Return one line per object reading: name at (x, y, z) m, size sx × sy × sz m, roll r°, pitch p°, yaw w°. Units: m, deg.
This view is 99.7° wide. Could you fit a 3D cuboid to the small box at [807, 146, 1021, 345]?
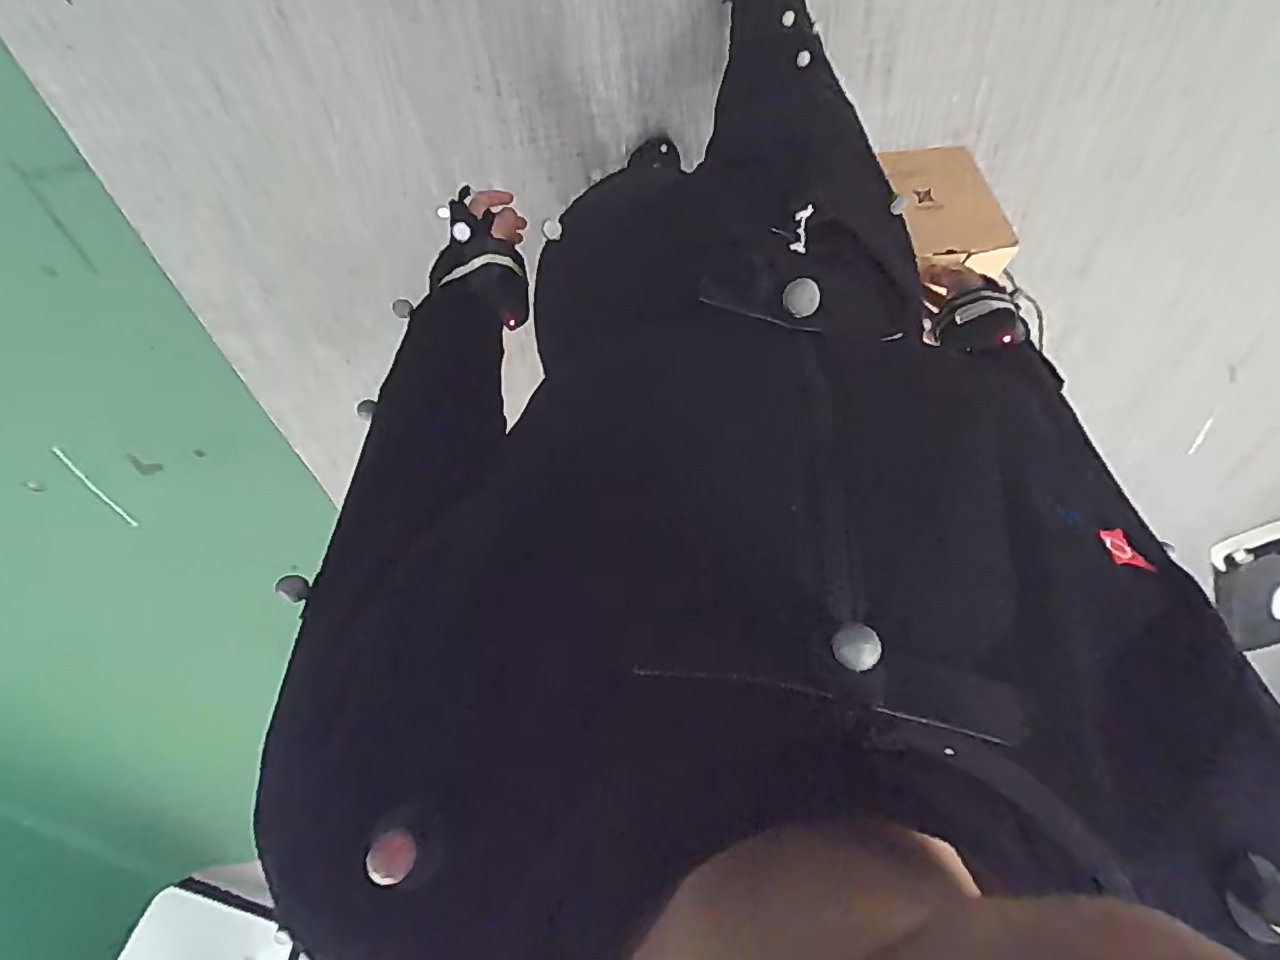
small box at (0.334, -0.292, 0.701) m, size 0.168 × 0.179 × 0.176 m, roll -6°, pitch 155°, yaw -3°
